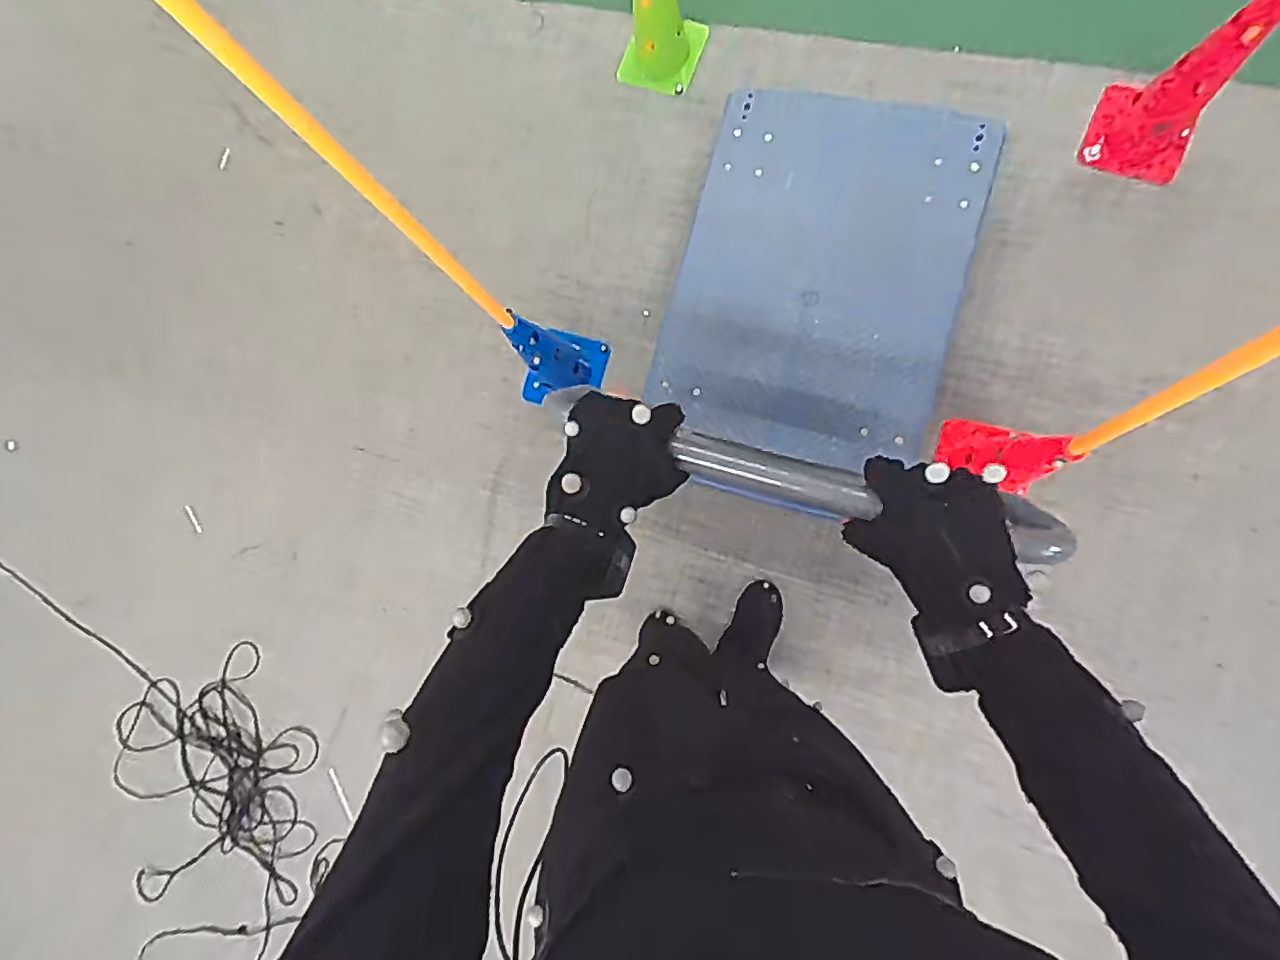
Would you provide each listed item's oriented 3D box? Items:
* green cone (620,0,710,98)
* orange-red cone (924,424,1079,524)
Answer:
[{"bbox_3d":[0.034,-1.133,1.263,0.202,0.368,0.200,22,89,12],"label":"green cone"},{"bbox_3d":[0.730,-0.031,1.055,0.199,0.360,0.198,16,88,13],"label":"orange-red cone"}]
